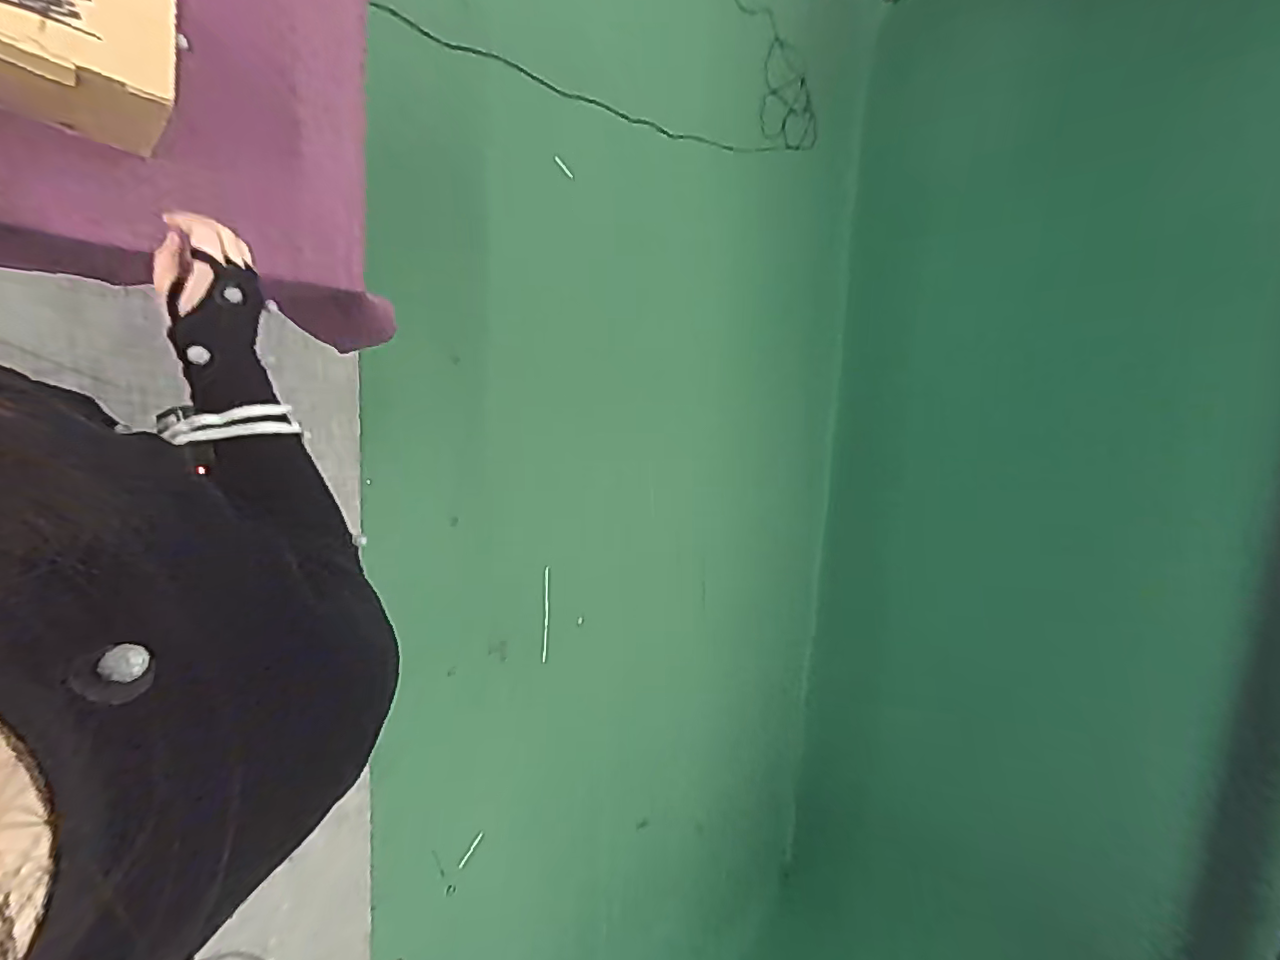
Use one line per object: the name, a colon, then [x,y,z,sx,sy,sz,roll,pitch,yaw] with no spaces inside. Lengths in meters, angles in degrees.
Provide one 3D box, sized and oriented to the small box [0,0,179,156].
small box: [-0.508,-0.413,0.457,0.168,0.176,0.179,0,96,-48]
